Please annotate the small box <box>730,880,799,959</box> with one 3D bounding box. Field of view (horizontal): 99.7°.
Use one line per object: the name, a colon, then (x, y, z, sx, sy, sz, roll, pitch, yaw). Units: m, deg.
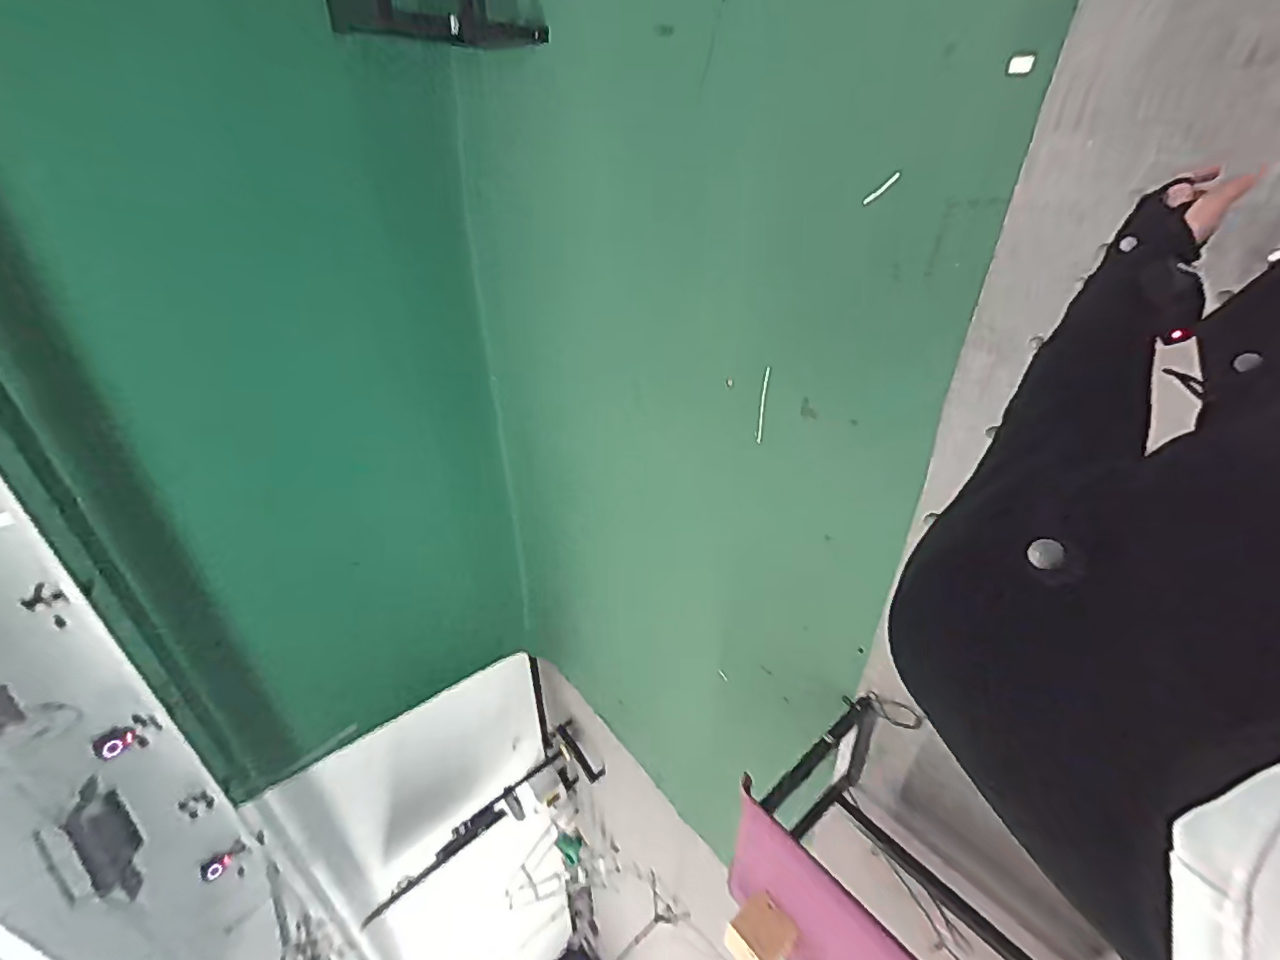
small box: (0.435, 1.560, 1.888, 0.168, 0.176, 0.179, 31, 133, 39)
